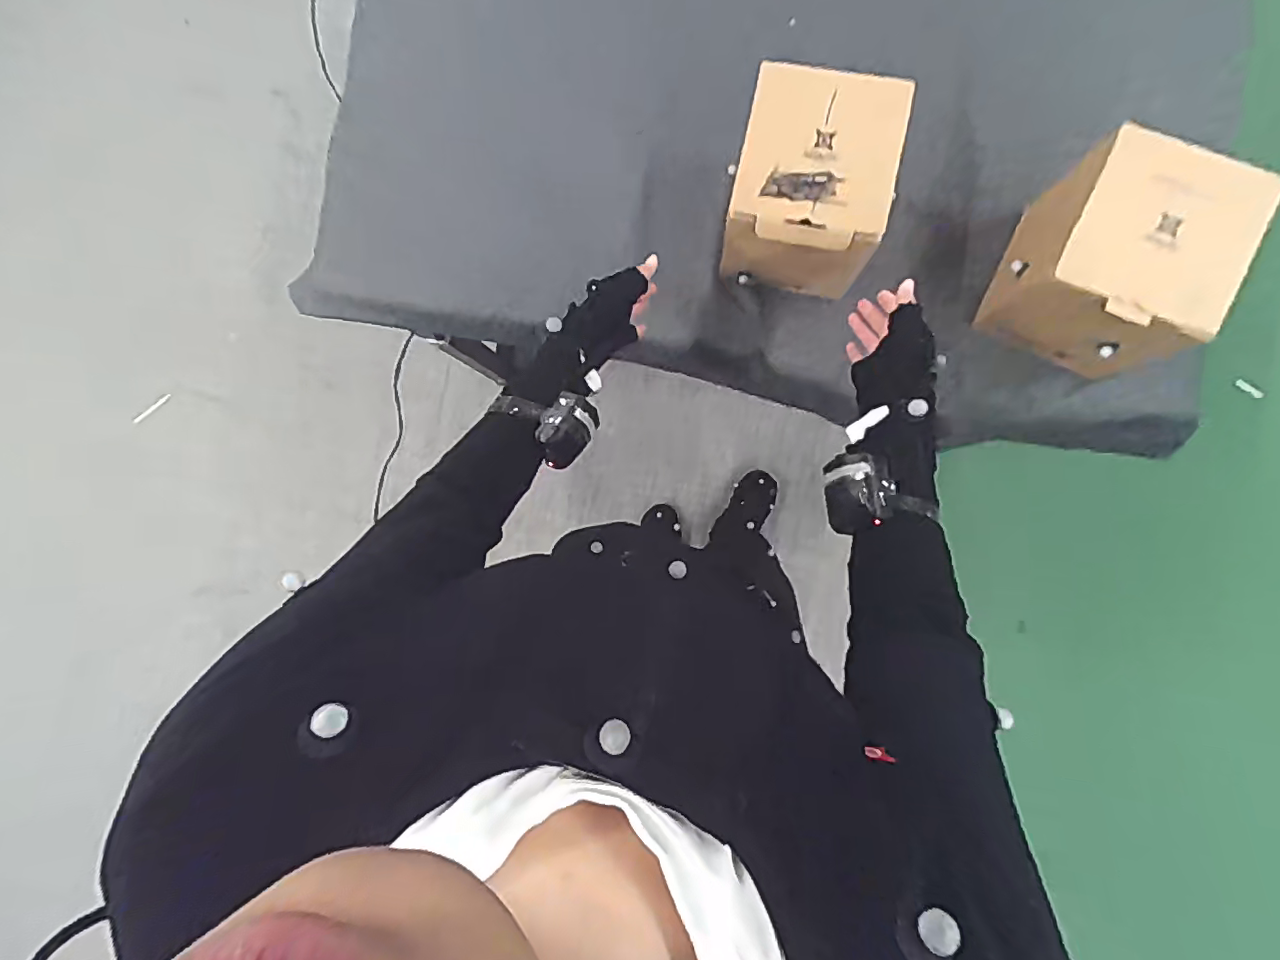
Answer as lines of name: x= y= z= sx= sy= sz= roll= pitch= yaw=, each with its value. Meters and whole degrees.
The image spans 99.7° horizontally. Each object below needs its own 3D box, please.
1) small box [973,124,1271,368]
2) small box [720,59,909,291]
small box: x=0.526 y=-0.250 z=0.624 sx=0.168 sy=0.176 sz=0.179 roll=24 pitch=89 yaw=5
small box: x=0.195 y=-0.352 z=0.656 sx=0.168 sy=0.176 sz=0.179 roll=13 pitch=88 yaw=5
